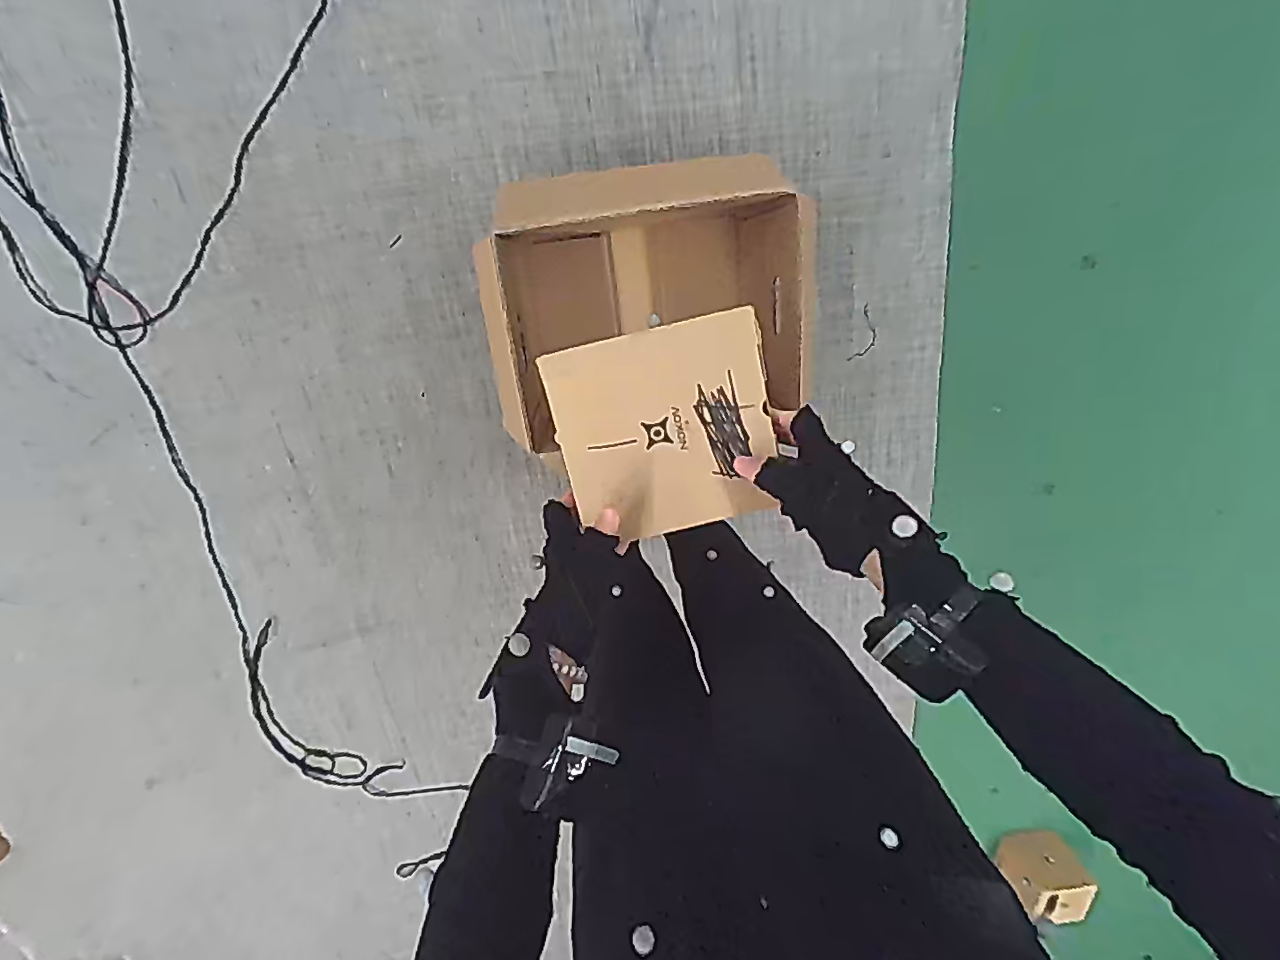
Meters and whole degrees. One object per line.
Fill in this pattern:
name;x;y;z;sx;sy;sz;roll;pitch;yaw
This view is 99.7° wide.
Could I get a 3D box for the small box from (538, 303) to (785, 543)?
small box;0.017;-0.057;0.514;0.179;0.176;0.168;-13;99;1
